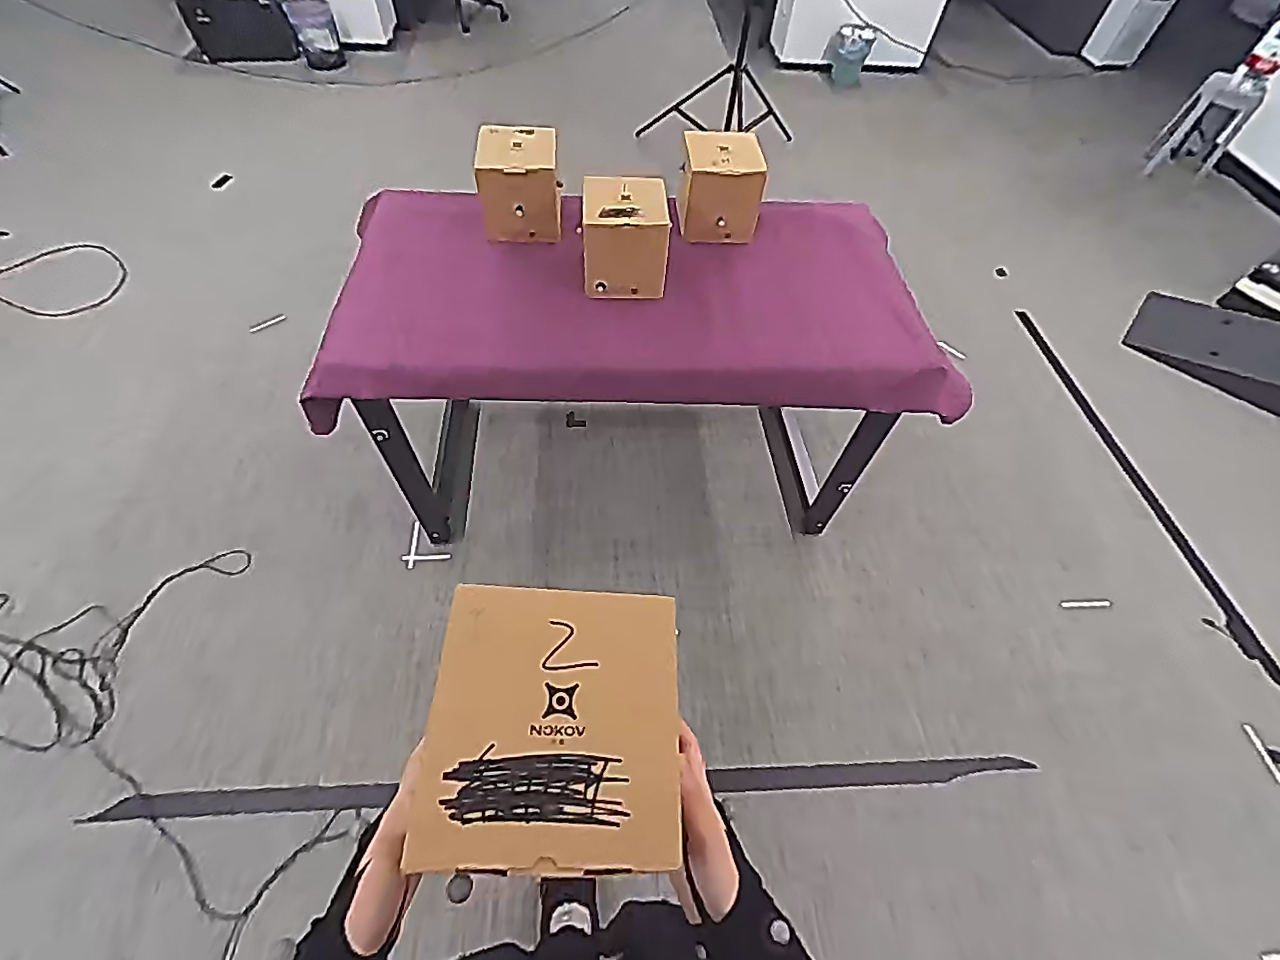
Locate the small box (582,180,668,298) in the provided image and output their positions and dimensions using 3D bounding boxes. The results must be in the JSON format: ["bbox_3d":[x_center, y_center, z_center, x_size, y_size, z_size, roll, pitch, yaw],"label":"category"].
[{"bbox_3d":[-0.033,-0.497,1.125,0.168,0.176,0.179,-1,55,-4],"label":"small box"}]

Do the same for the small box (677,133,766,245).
[{"bbox_3d":[0.180,-0.674,1.256,0.168,0.176,0.179,-2,57,-4],"label":"small box"}]

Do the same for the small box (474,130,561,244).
[{"bbox_3d":[-0.266,-0.652,1.213,0.168,0.176,0.179,-2,58,-5],"label":"small box"}]
